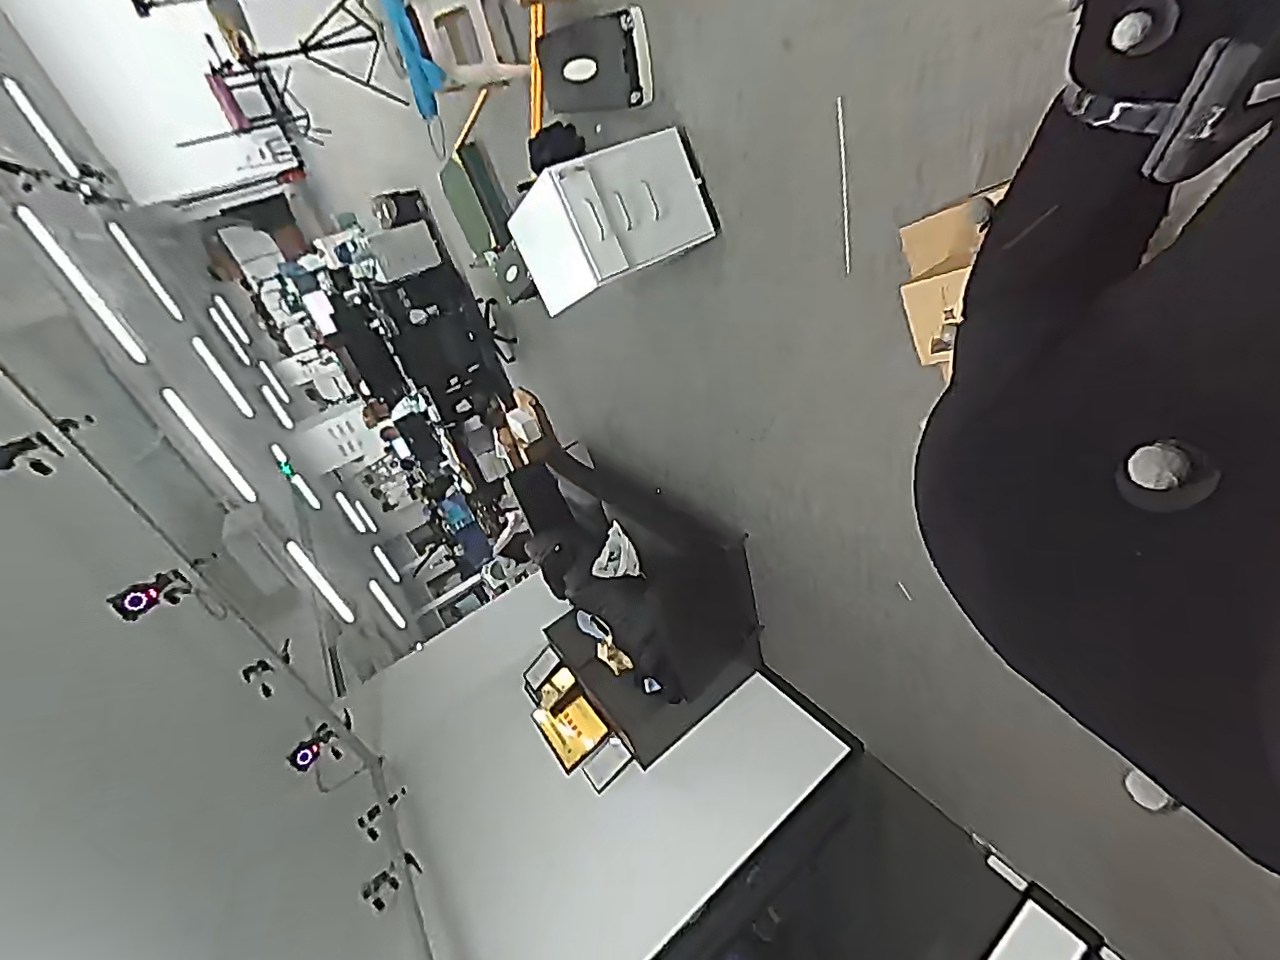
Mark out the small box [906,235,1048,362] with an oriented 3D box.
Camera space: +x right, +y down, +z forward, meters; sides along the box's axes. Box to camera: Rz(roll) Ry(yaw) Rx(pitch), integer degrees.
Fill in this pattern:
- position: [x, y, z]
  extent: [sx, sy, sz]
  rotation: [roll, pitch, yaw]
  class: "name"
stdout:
- position: [0.677, -0.358, 1.081]
  extent: [0.168, 0.176, 0.179]
  rotation: [6, 125, 62]
  class: "small box"
